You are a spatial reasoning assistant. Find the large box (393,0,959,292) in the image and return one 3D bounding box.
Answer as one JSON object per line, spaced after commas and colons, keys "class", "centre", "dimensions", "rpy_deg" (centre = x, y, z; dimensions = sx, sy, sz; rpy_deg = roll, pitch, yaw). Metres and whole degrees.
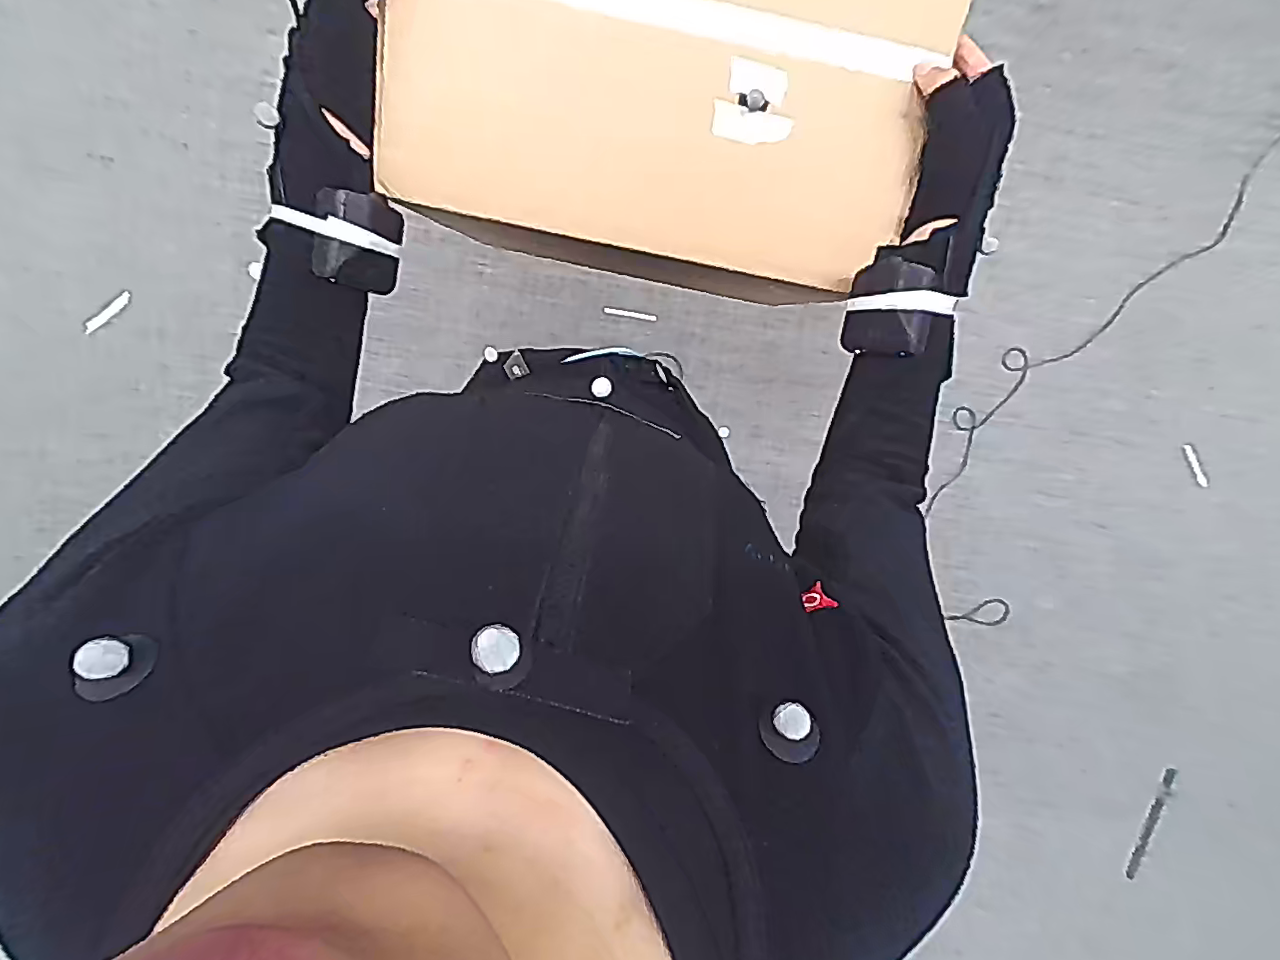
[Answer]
{"class": "large box", "centre": [0.021, -0.382, 0.531], "dimensions": [0.408, 0.320, 0.320], "rpy_deg": [9, 108, -6]}
